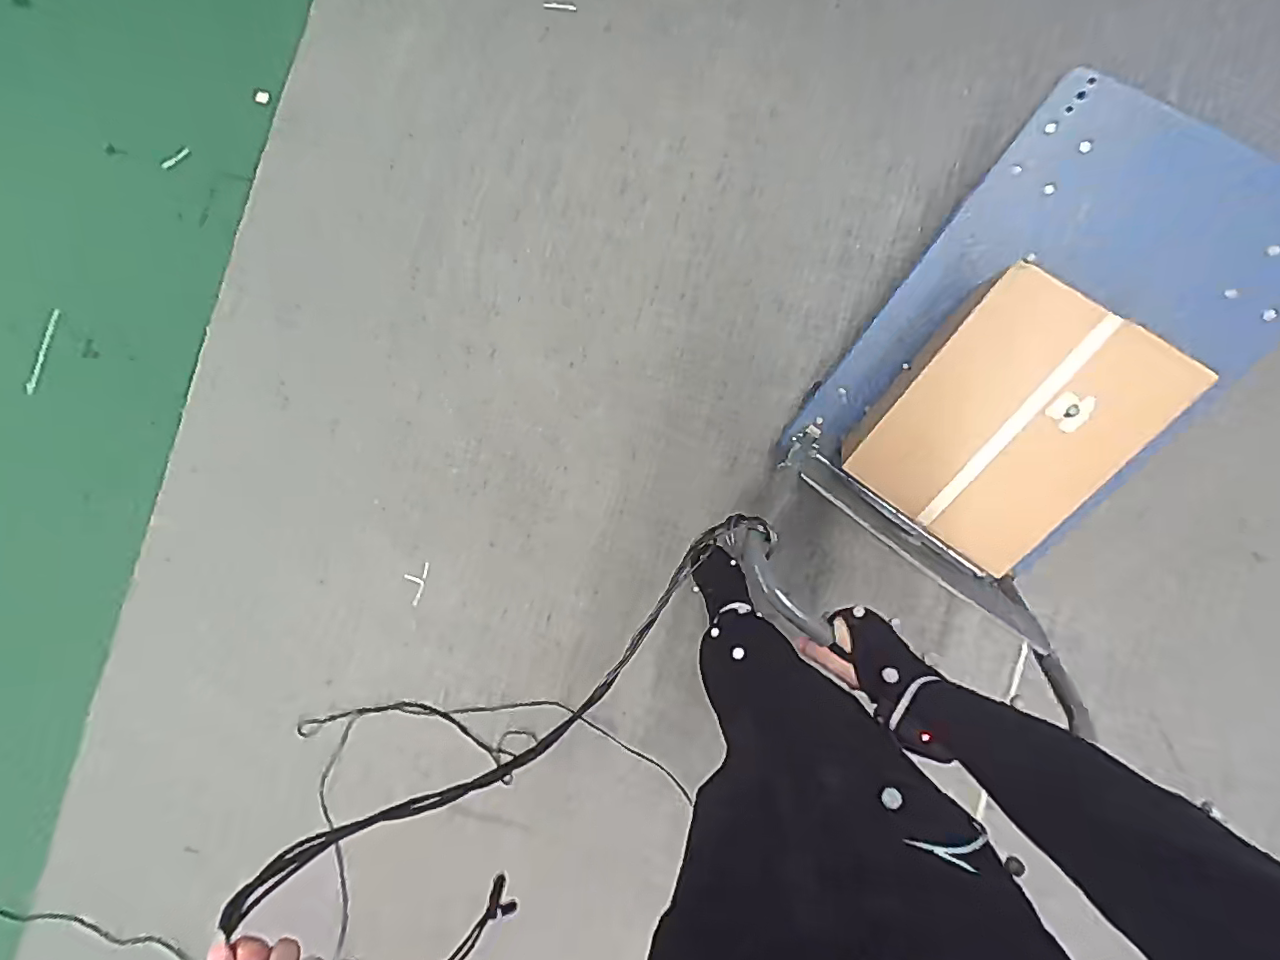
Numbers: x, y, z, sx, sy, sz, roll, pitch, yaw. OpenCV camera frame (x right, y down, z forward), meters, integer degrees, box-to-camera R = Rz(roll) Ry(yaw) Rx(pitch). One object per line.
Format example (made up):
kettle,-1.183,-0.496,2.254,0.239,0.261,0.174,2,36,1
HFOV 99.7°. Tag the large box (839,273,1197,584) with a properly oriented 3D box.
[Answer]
large box,0.620,-0.093,0.993,0.320,0.320,0.408,39,111,9
